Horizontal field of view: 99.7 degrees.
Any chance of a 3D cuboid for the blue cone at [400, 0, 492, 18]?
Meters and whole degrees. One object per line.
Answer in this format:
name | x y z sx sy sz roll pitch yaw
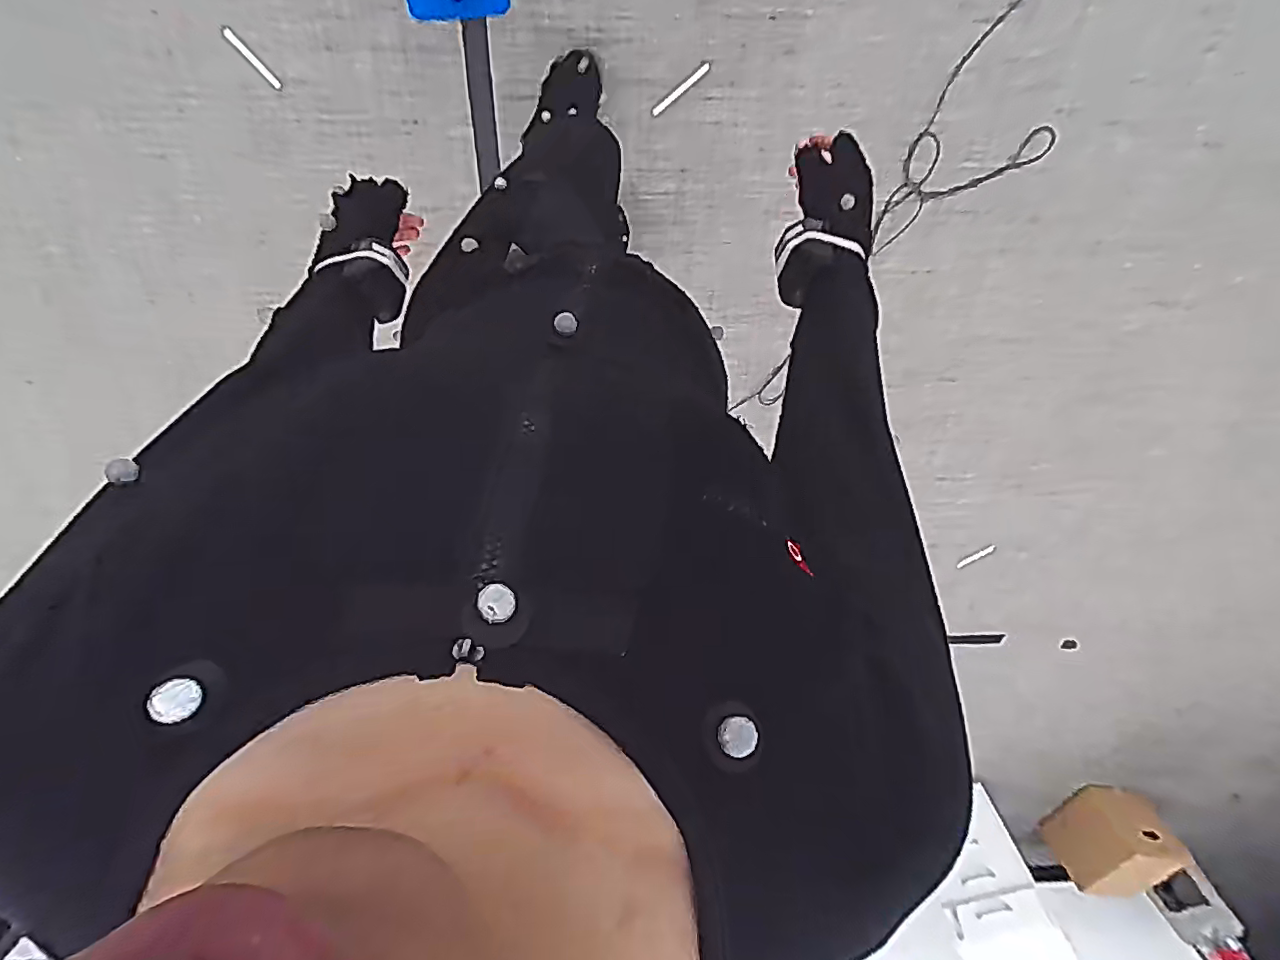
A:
blue cone | -0.368 -0.895 0.856 0.192 0.380 0.193 -3 122 0
